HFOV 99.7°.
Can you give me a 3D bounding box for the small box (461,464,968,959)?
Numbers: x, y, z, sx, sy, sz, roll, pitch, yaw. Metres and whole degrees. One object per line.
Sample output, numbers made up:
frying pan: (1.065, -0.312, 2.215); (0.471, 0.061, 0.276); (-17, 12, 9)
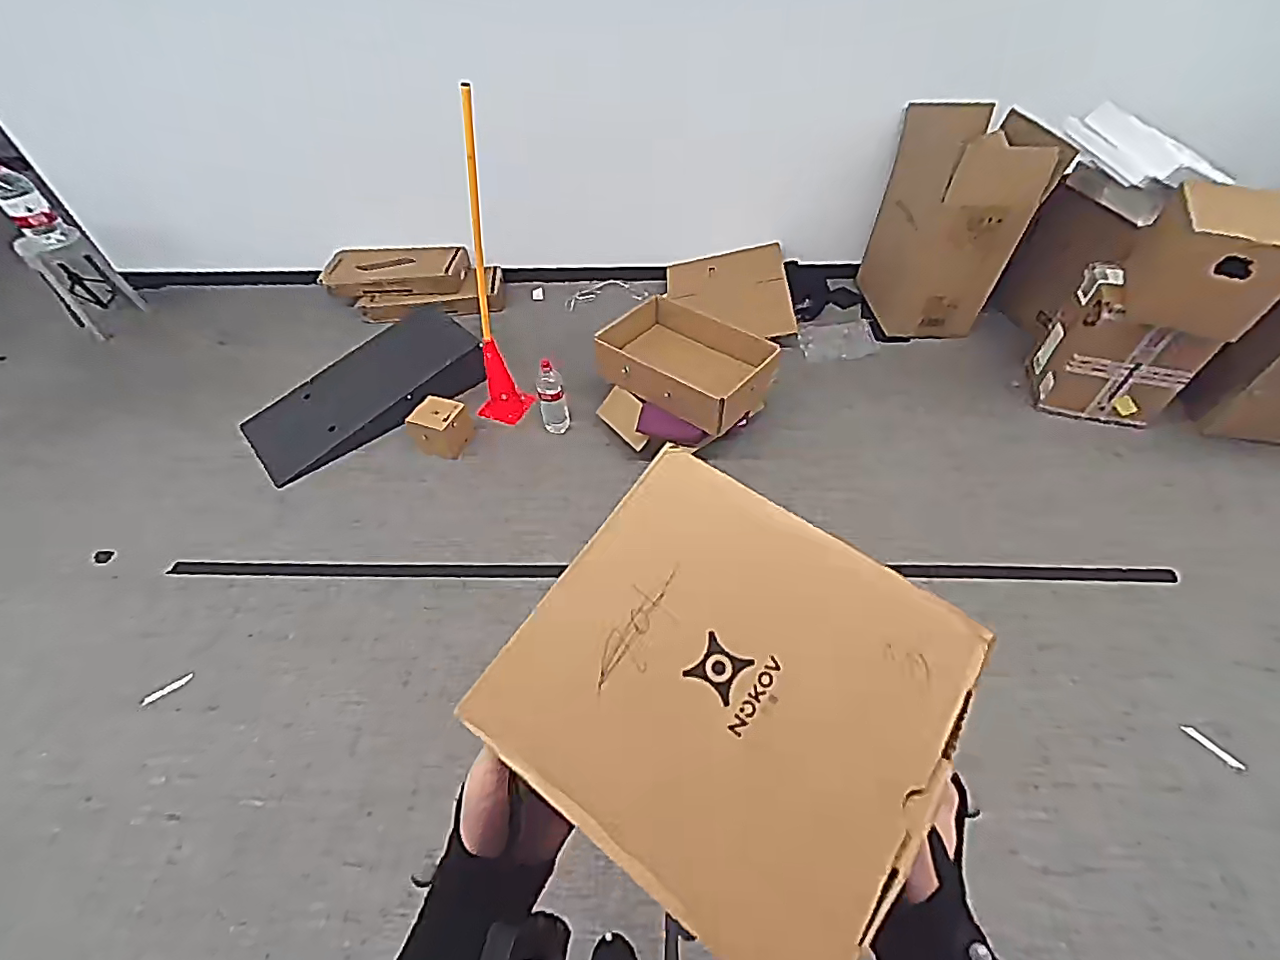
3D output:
small box: (0.039, 0.128, 0.315); (0.179, 0.176, 0.168); (31, 67, 20)
